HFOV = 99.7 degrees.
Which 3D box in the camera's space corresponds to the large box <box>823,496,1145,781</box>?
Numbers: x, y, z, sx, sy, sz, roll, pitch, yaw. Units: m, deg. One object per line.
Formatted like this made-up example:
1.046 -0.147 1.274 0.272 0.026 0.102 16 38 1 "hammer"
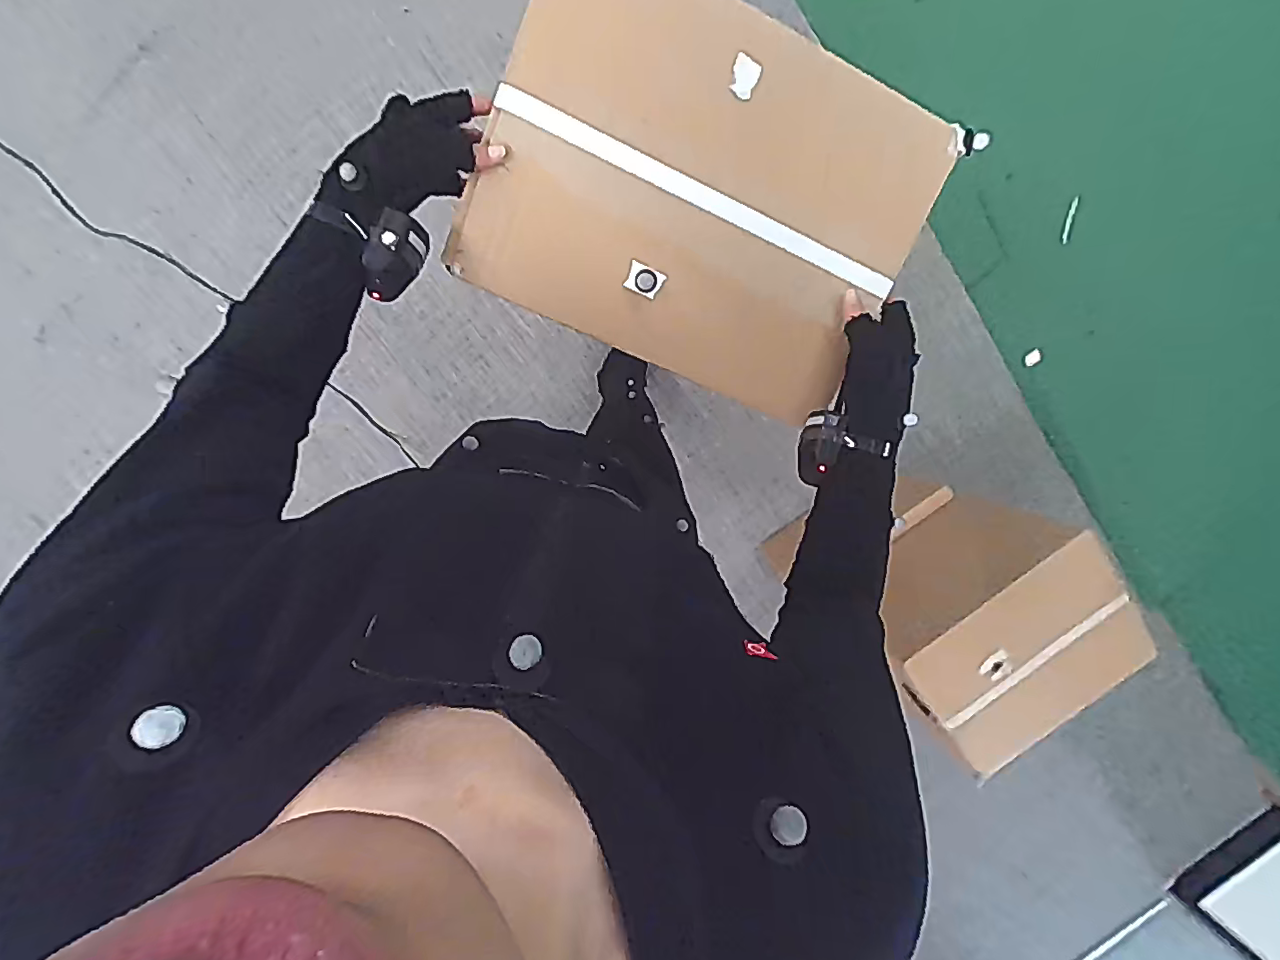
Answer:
0.672 0.295 1.108 0.408 0.320 0.320 -36 103 1 "large box"
